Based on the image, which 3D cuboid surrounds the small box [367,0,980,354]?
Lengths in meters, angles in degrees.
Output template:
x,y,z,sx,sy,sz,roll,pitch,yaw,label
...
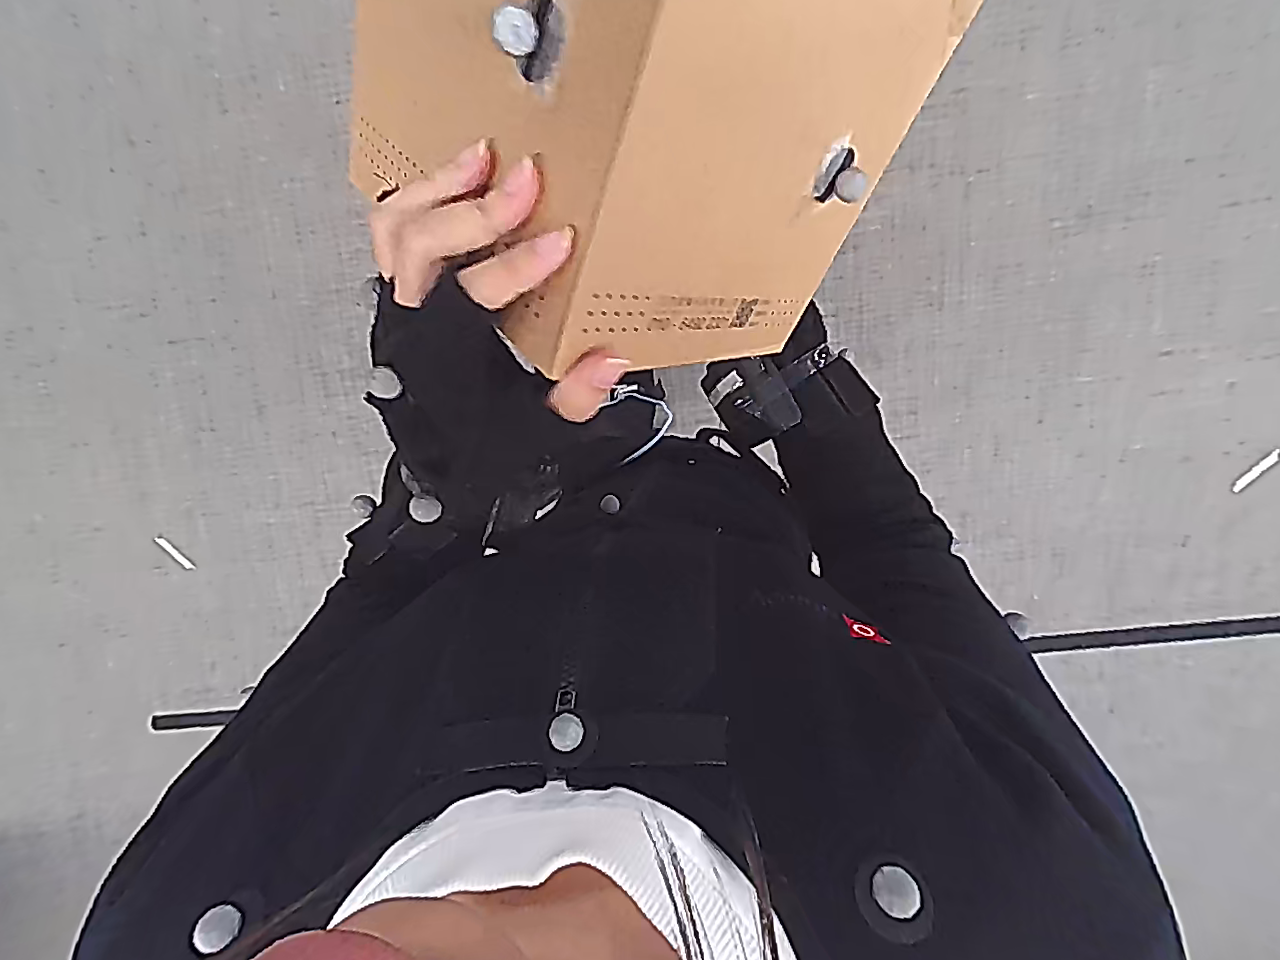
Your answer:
x,y,z,sx,sy,sz,roll,pitch,yaw,label
-0.001,-0.168,0.242,0.179,0.168,0.176,45,129,25,small box
